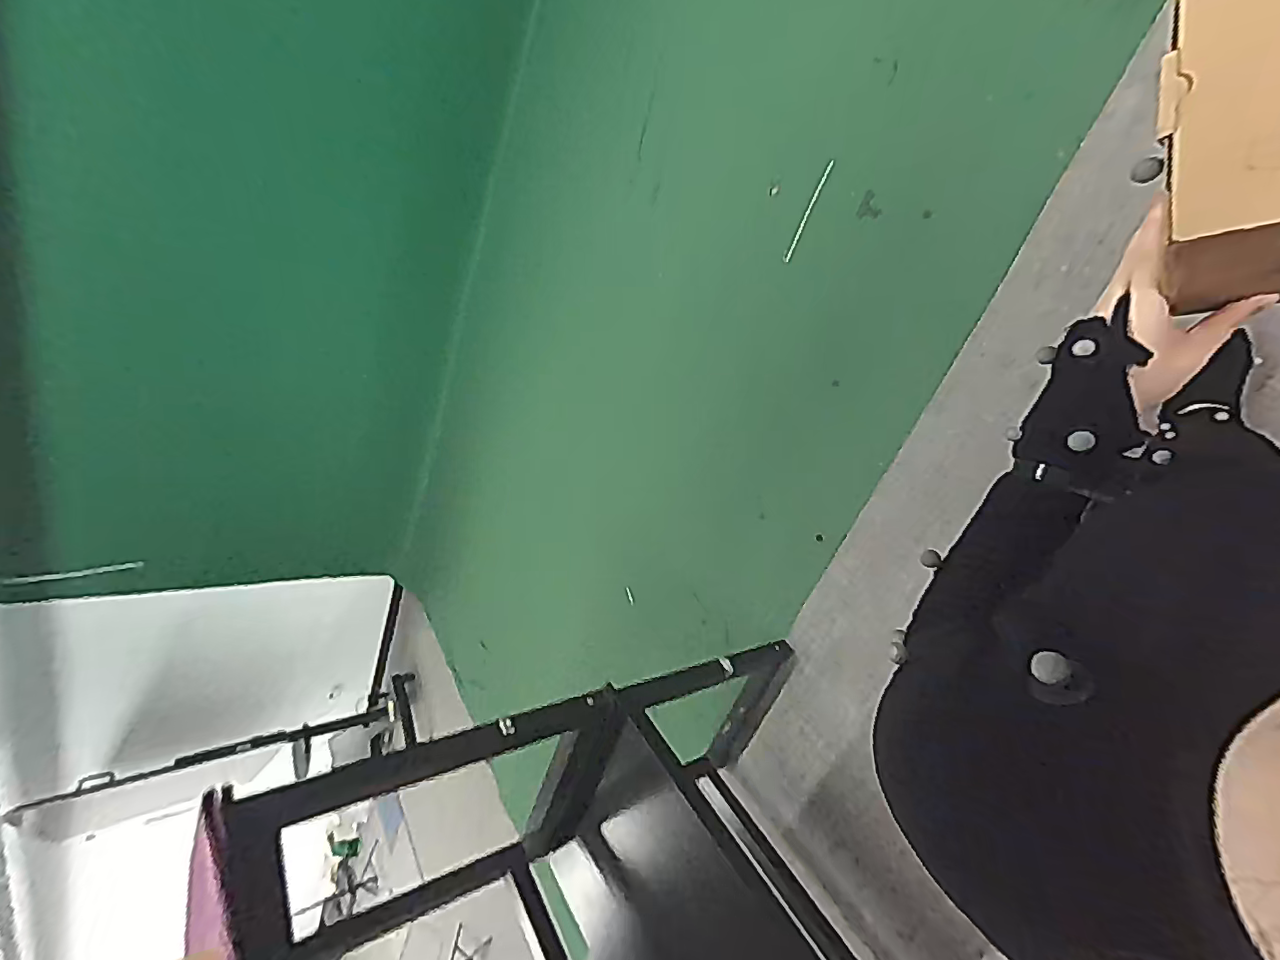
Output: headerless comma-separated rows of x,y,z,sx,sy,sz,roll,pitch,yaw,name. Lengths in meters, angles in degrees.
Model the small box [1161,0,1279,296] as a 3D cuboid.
0.402,-0.210,0.284,0.179,0.176,0.168,3,92,45,small box
